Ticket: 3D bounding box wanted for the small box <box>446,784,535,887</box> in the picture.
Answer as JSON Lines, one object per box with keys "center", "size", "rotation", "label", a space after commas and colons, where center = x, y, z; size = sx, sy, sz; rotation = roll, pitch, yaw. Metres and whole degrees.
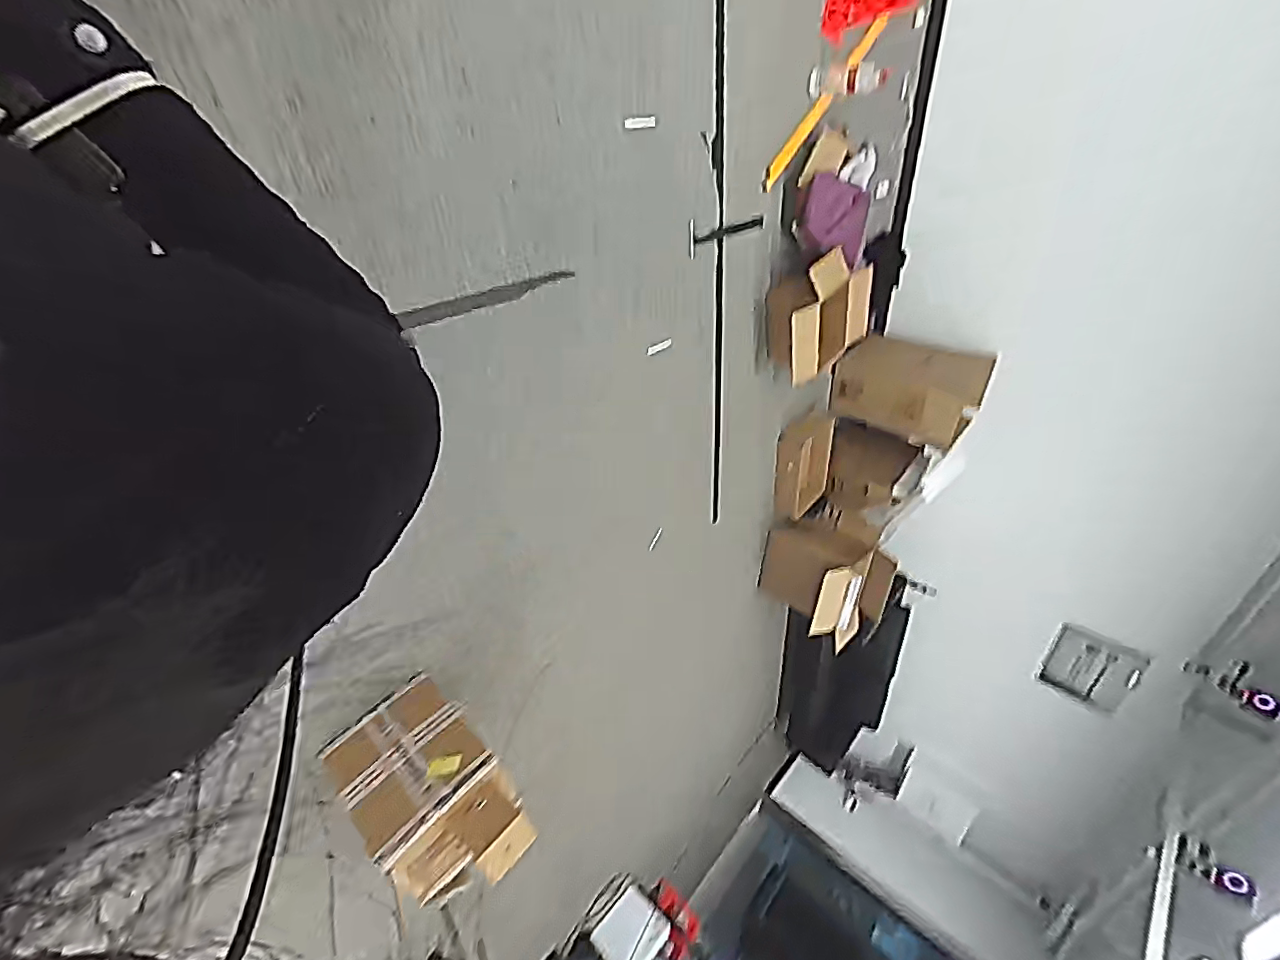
{"center": [-0.452, 1.067, 1.635], "size": [0.168, 0.176, 0.179], "rotation": [-38, 132, -33], "label": "small box"}
